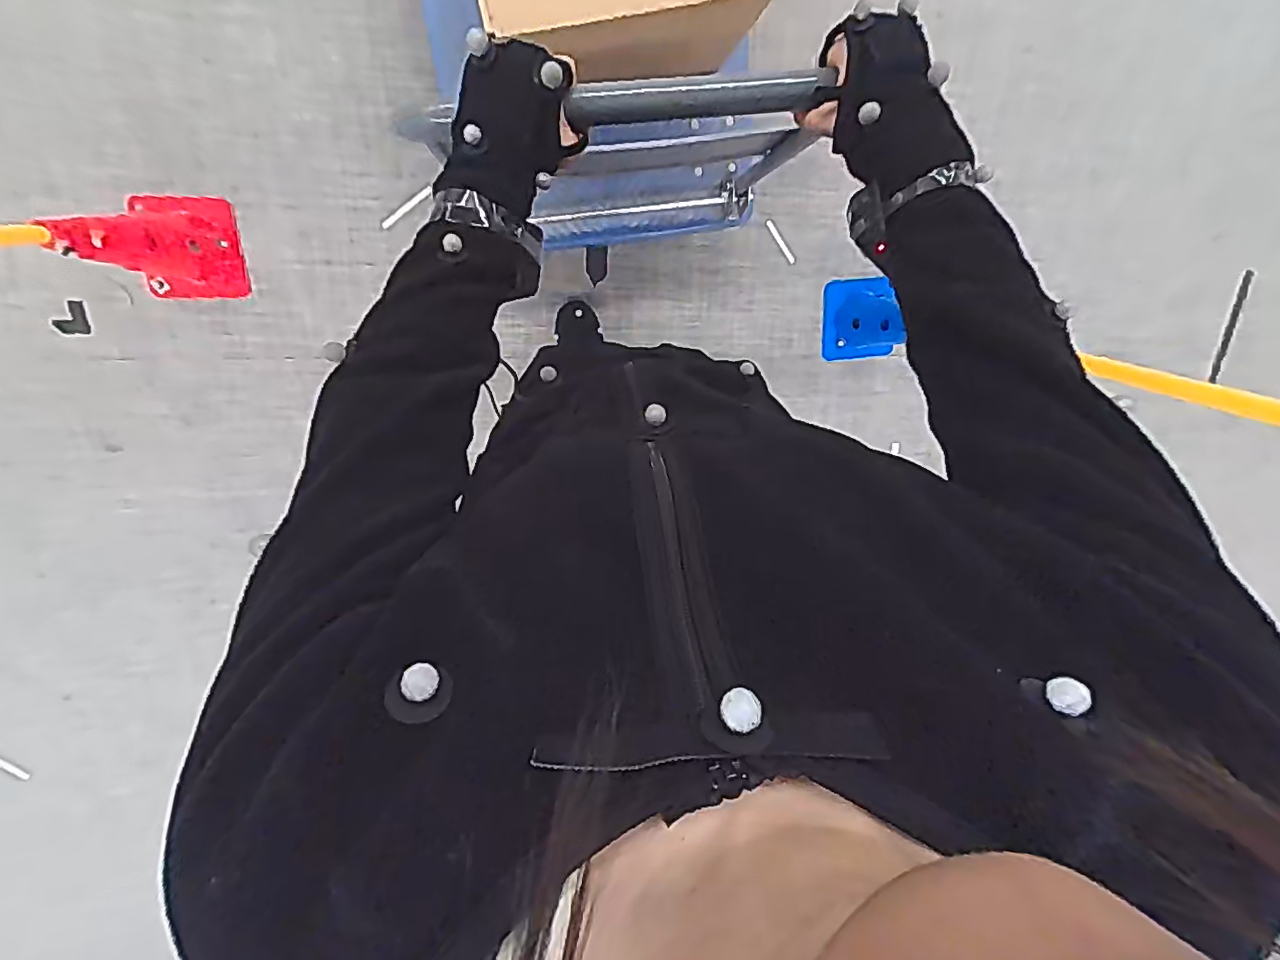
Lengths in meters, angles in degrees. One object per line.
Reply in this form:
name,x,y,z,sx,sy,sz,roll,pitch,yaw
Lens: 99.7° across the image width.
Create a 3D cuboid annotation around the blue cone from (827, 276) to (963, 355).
blue cone,0.598,-0.372,1.245,0.193,0.380,0.192,-5,109,-7
